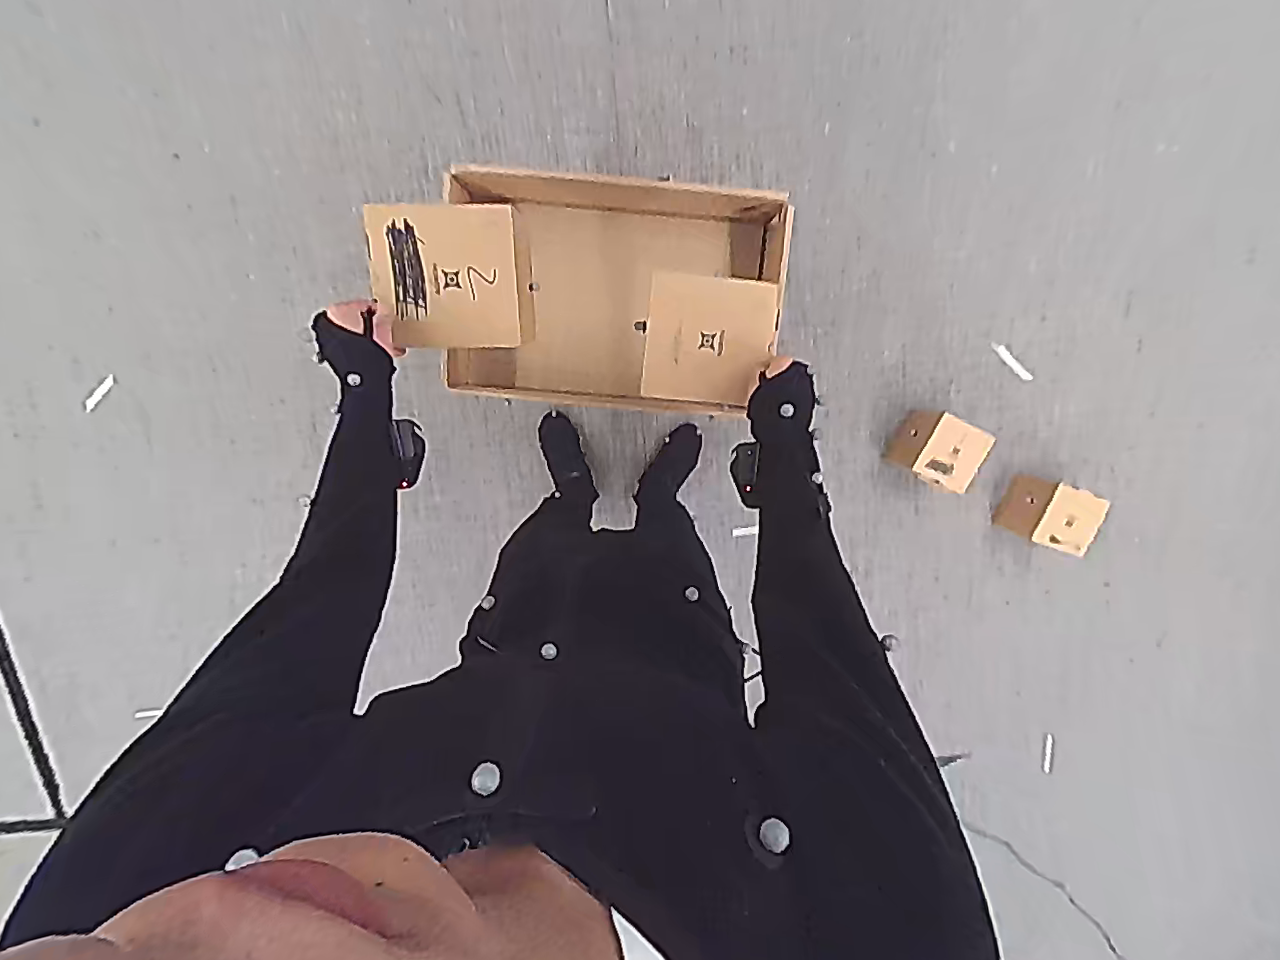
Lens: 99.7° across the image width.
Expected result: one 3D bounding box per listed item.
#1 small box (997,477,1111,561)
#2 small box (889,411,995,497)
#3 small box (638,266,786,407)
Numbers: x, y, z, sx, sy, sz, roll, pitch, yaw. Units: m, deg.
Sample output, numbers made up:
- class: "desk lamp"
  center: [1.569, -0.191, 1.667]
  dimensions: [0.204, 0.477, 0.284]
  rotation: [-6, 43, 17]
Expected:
- class: "small box"
  center: [1.181, 0.105, 1.559]
  dimensions: [0.168, 0.176, 0.179]
  rotation: [19, 99, -4]
- class: "small box"
  center: [0.833, -0.080, 1.516]
  dimensions: [0.168, 0.176, 0.179]
  rotation: [26, 99, -6]
- class: "small box"
  center: [0.094, -0.204, 0.791]
  dimensions: [0.179, 0.176, 0.168]
  rotation: [6, 102, -2]
